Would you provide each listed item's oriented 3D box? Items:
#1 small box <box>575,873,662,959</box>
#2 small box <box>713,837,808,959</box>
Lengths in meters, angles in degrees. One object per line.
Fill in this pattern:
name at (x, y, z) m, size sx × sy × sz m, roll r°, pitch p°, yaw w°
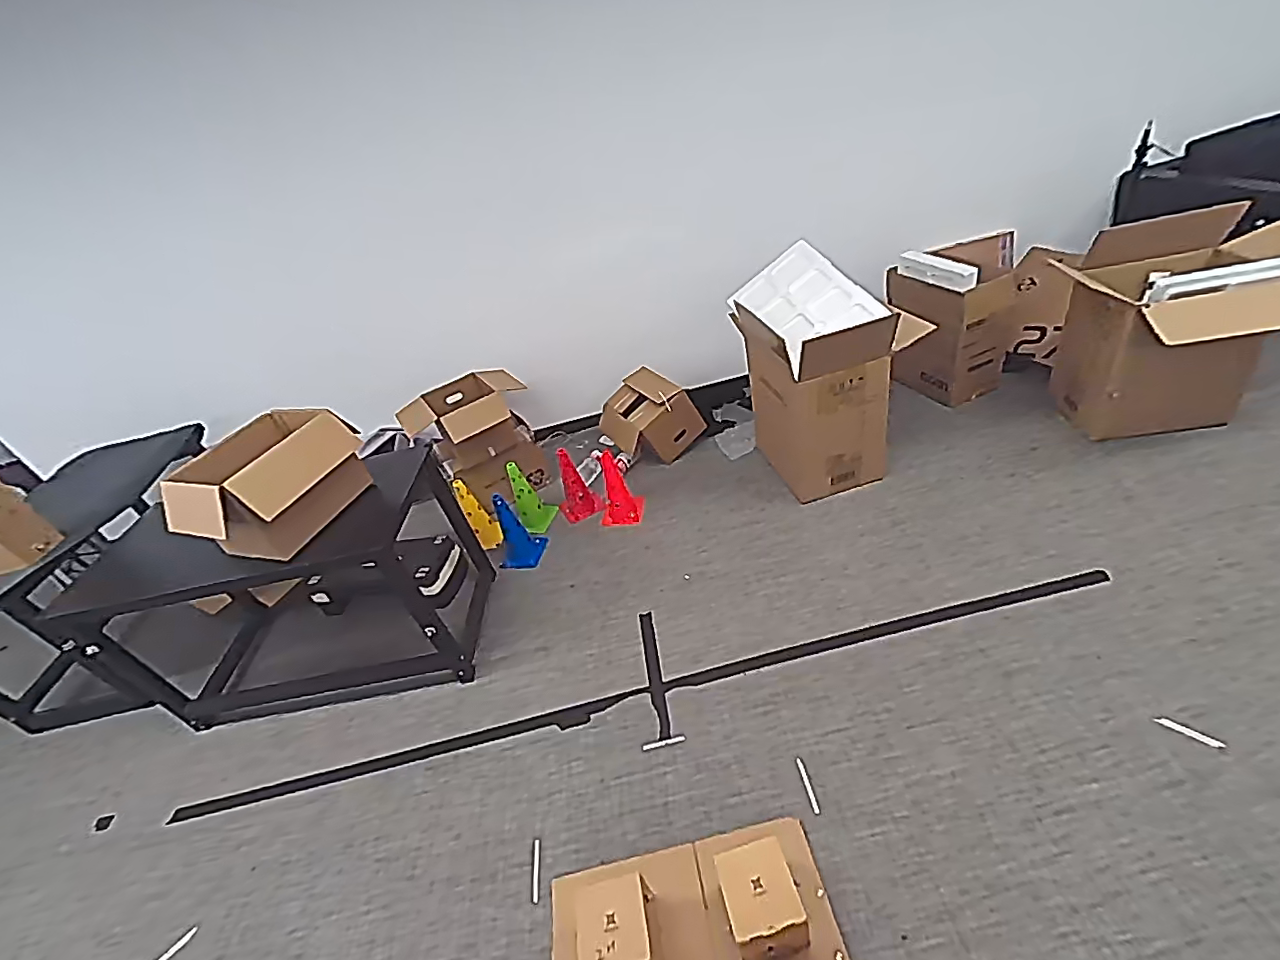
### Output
small box at (-0.049, 1.079, 1.280) m, size 0.168 × 0.176 × 0.179 m, roll -16°, pitch 36°, yaw 0°
small box at (0.284, 0.996, 1.280) m, size 0.168 × 0.176 × 0.179 m, roll -17°, pitch 36°, yaw -3°
